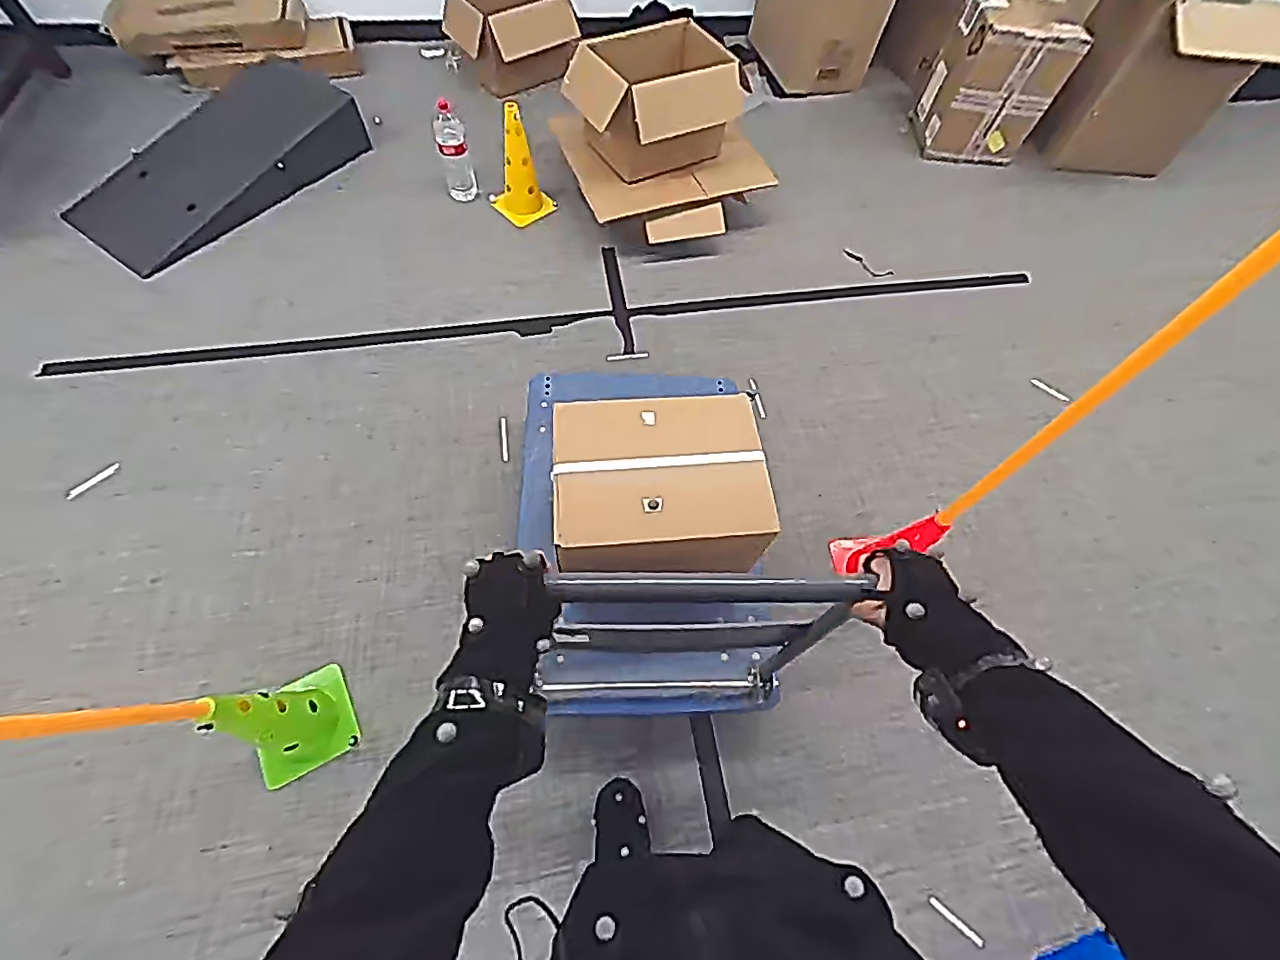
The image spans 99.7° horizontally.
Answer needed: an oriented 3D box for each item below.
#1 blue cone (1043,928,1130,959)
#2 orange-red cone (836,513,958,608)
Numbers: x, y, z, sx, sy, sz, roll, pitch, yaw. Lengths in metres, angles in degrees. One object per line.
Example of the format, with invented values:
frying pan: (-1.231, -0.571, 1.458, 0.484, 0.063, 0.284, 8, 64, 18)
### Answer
blue cone: (0.927, 0.946, 0.923, 0.193, 0.380, 0.192, -11, 62, -10)
orange-red cone: (0.648, 0.167, 1.303, 0.199, 0.360, 0.198, -1, 63, -6)
